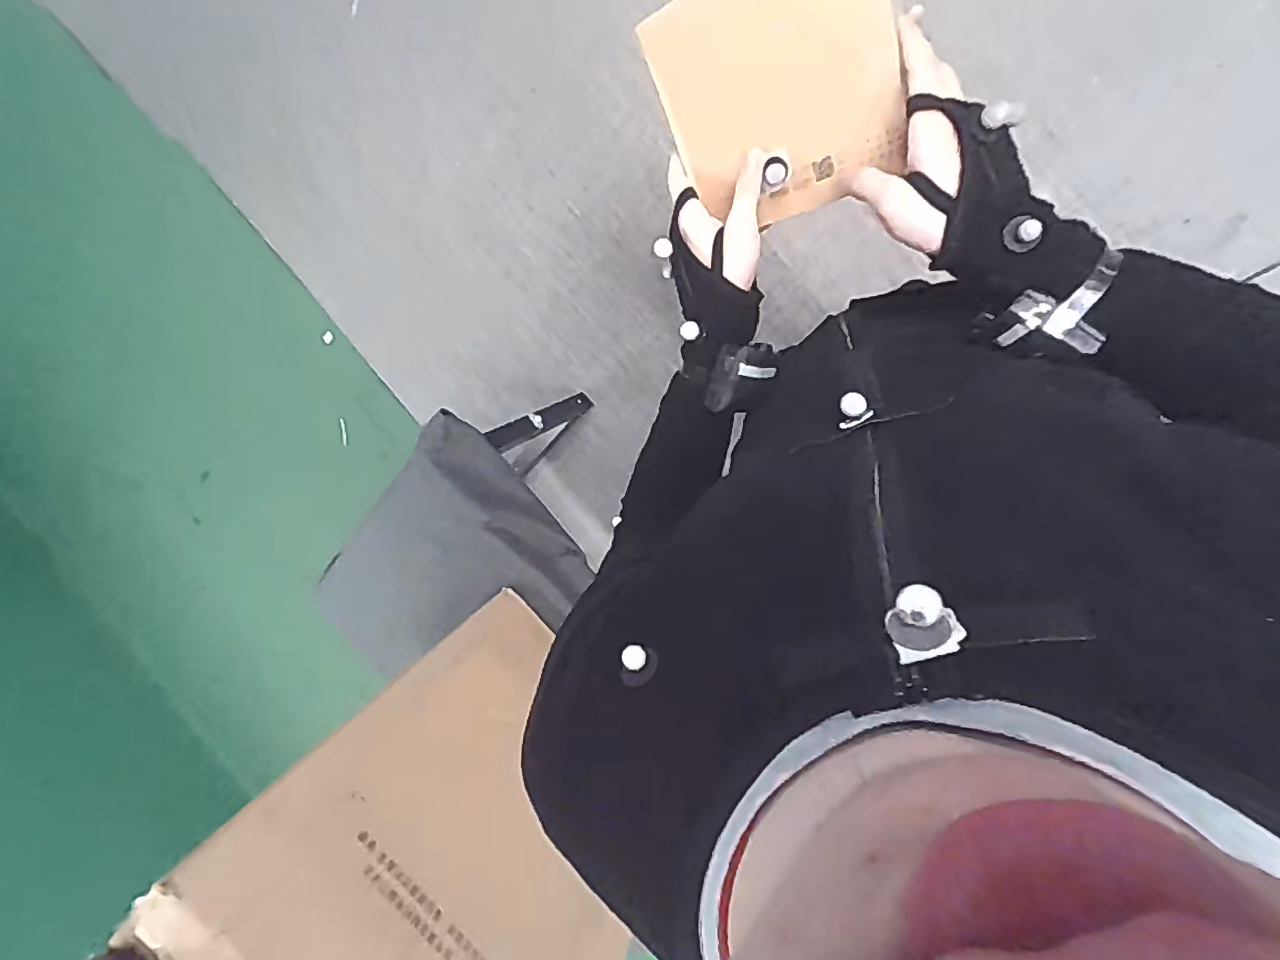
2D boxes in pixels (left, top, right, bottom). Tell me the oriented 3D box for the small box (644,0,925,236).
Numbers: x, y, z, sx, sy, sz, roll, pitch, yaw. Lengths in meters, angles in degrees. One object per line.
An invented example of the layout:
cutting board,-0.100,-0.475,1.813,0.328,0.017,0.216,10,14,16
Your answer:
small box,0.133,-0.329,0.452,0.168,0.179,0.176,-9,123,33
